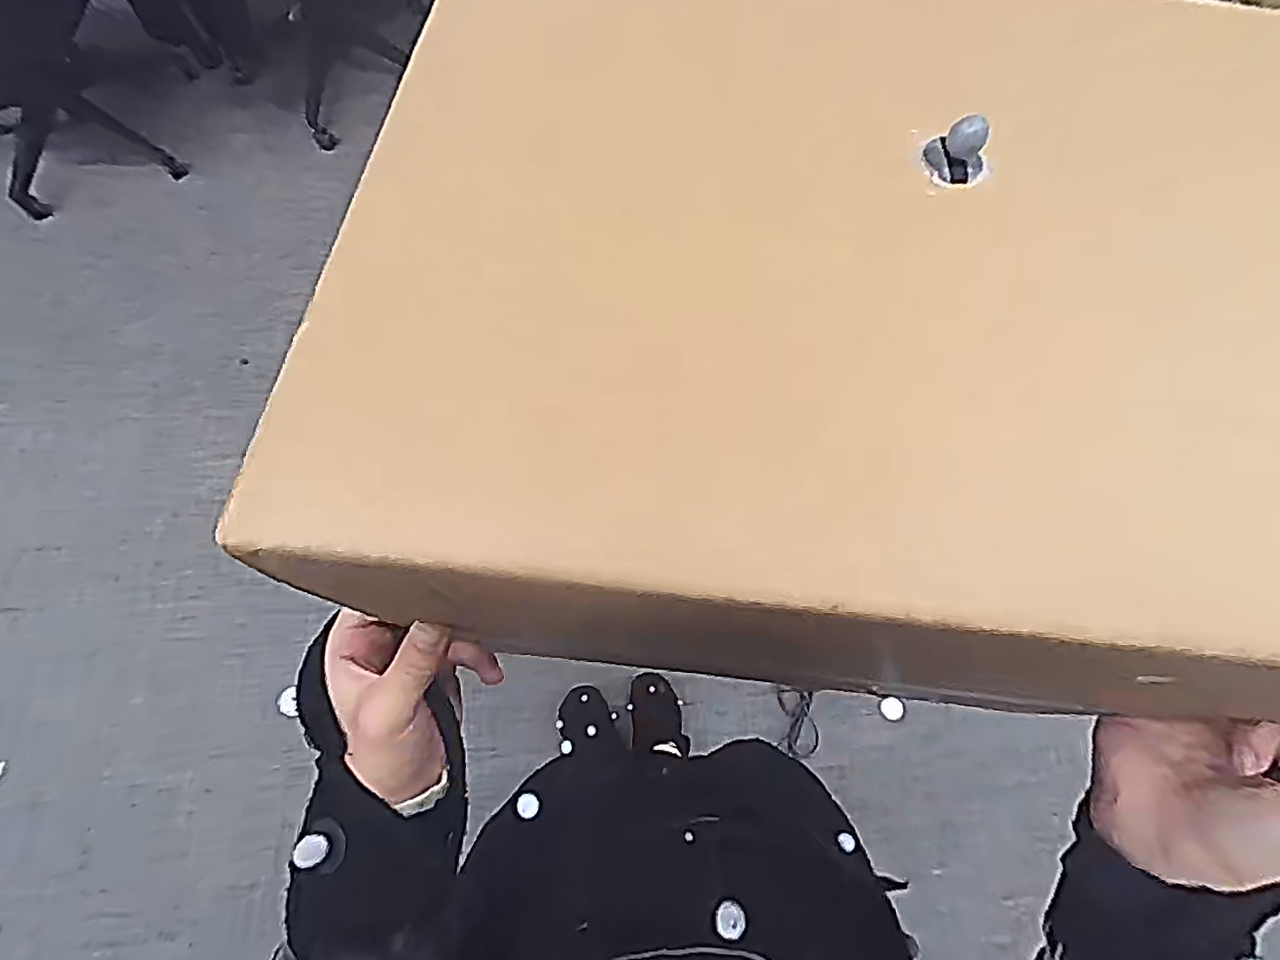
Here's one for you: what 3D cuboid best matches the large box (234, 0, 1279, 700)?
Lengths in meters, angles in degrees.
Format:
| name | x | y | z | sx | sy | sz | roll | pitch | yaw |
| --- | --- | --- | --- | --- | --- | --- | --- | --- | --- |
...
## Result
| name | x | y | z | sx | sy | sz | roll | pitch | yaw |
| --- | --- | --- | --- | --- | --- | --- | --- | --- | --- |
| large box | 0.095 | -0.054 | 0.331 | 0.408 | 0.320 | 0.320 | 6 | 69 | -1 |
